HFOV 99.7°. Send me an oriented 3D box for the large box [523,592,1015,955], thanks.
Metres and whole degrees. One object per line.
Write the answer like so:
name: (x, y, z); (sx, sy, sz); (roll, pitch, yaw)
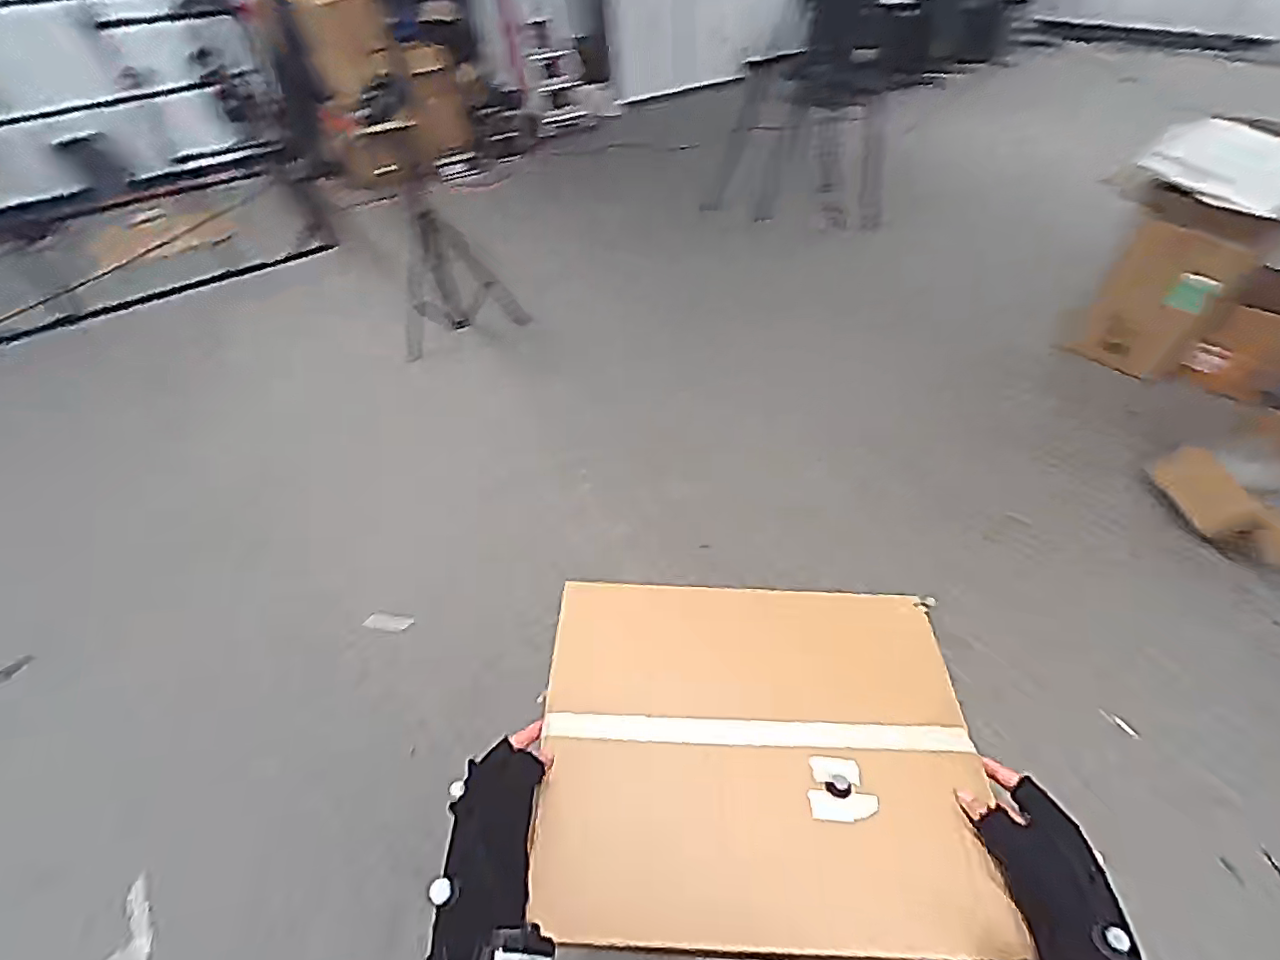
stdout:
large box: (0.100, 0.347, 0.636); (0.408, 0.320, 0.320); (2, 48, 0)
